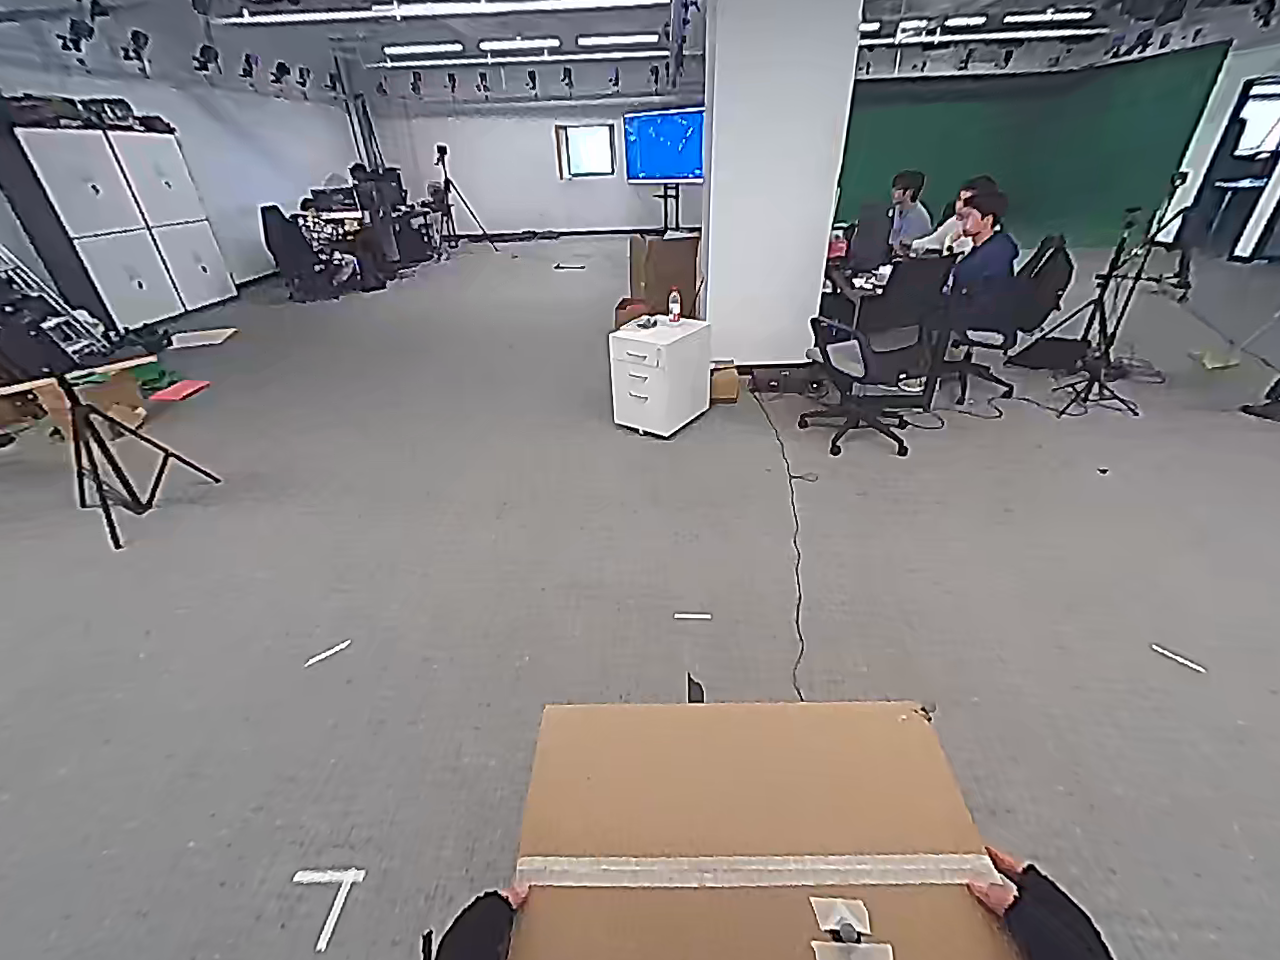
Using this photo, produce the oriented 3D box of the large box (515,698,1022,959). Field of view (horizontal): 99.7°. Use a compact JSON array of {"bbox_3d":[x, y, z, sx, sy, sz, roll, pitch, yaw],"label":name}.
[{"bbox_3d":[0.104,0.456,0.566,0.408,0.320,0.320,-1,37,3],"label":"large box"}]
